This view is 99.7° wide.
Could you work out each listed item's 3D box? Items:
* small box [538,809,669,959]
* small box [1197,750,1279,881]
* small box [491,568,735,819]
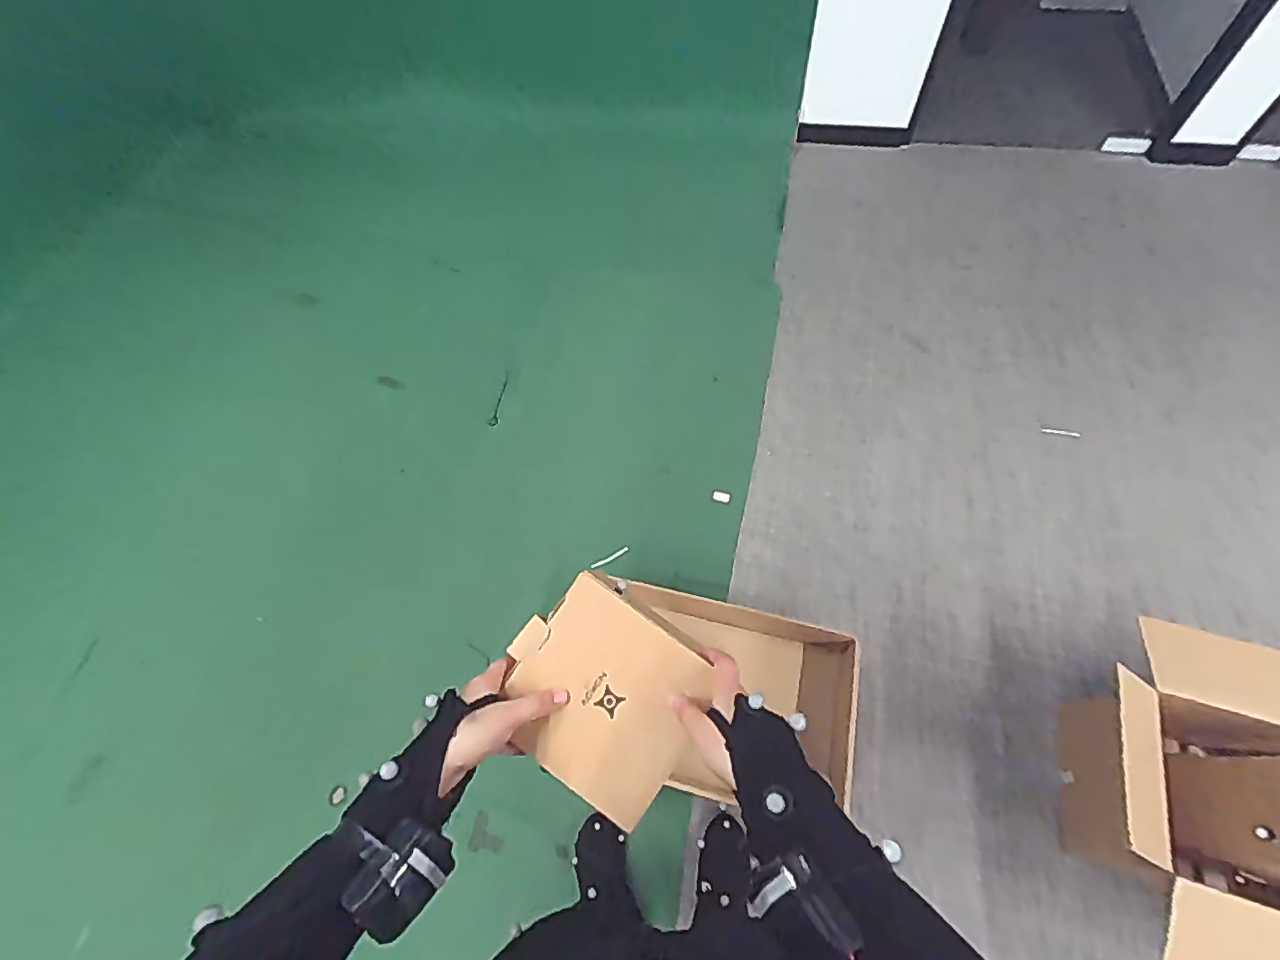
[{"bbox_3d":[-0.066,0.807,1.090,0.176,0.168,0.179,53,48,-2],"label":"small box"},{"bbox_3d":[1.122,0.591,0.931,0.168,0.176,0.179,21,65,12],"label":"small box"},{"bbox_3d":[-0.024,0.208,0.587,0.179,0.176,0.168,34,82,6],"label":"small box"}]
